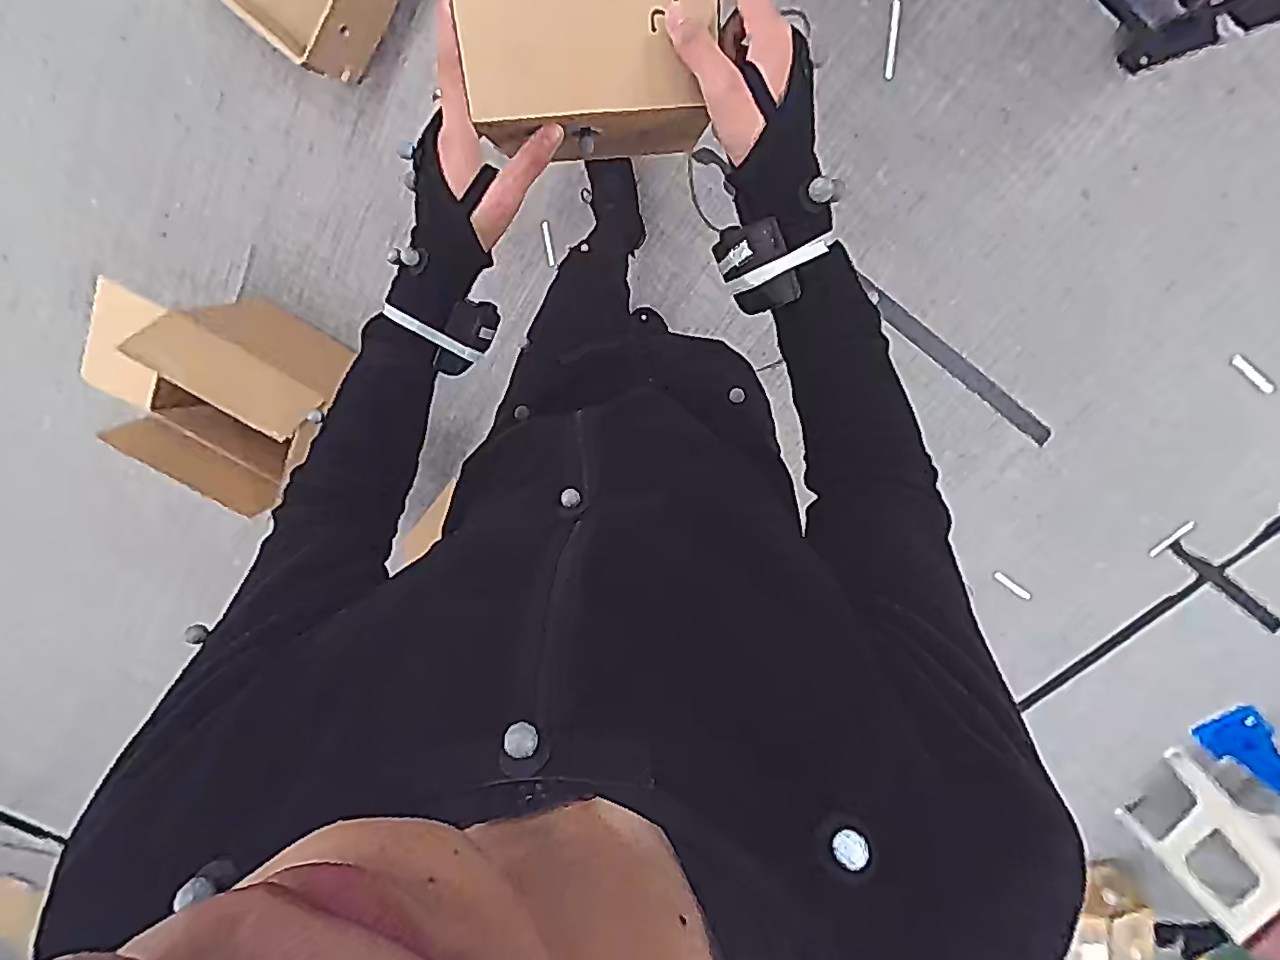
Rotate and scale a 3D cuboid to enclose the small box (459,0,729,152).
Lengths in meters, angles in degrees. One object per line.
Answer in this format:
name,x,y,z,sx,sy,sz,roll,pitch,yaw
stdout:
small box,-0.032,-0.361,0.411,0.179,0.176,0.168,-3,113,0
